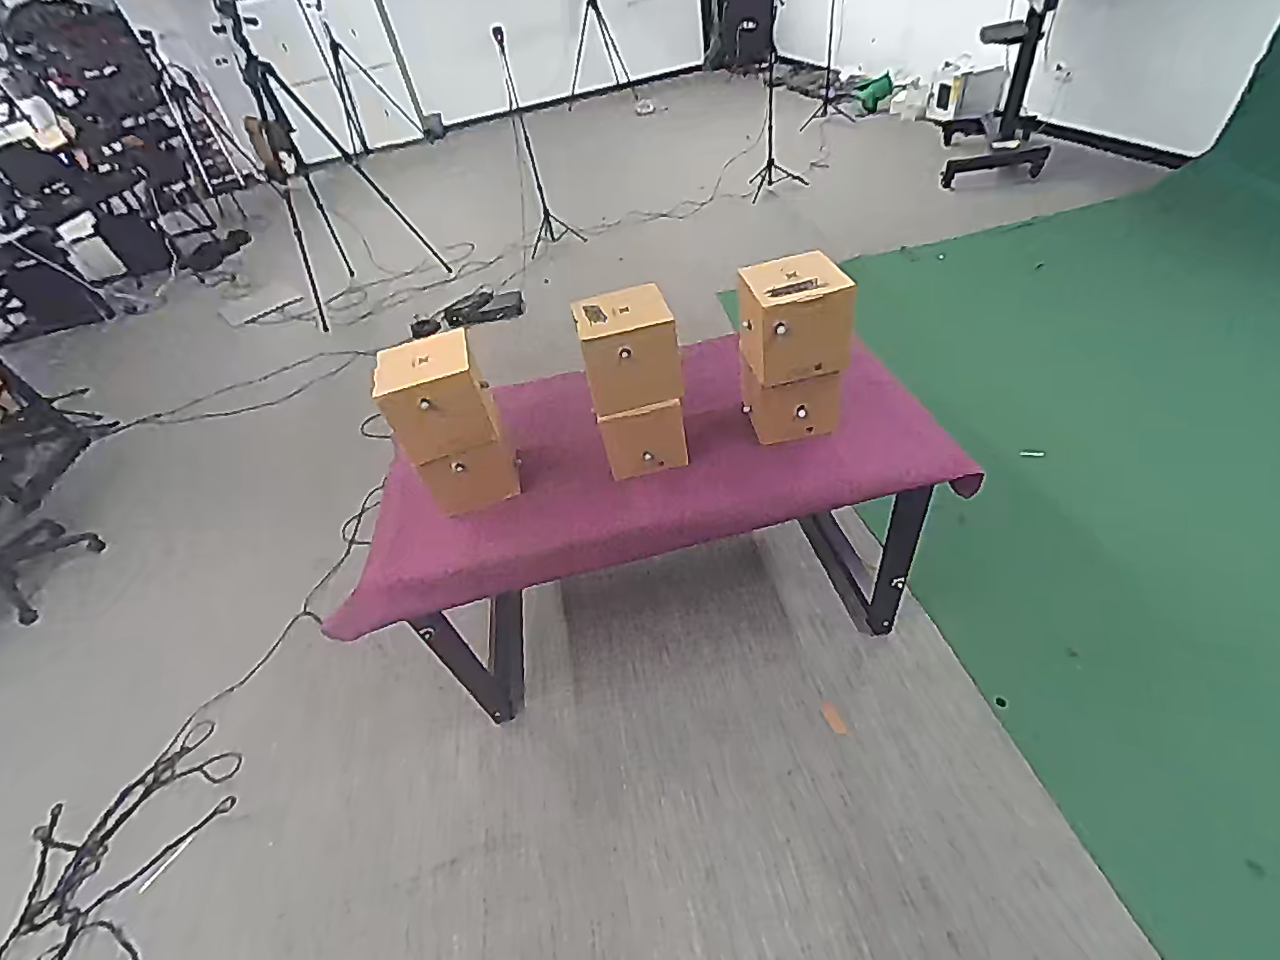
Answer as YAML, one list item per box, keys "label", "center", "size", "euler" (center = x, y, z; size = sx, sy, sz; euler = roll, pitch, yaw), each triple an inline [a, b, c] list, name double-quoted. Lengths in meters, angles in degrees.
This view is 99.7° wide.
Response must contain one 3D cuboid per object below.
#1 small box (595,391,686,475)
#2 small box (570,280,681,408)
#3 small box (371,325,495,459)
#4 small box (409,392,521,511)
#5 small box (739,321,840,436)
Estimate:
- label: "small box"
  center: [-0.003, -0.139, 1.162]
  size: [0.168, 0.176, 0.179]
  euler: [-13, 44, 1]
- label: "small box"
  center: [-0.027, -0.261, 1.055]
  size: [0.179, 0.176, 0.168]
  euler: [-14, 43, -2]
- label: "small box"
  center: [-0.392, -0.169, 1.052]
  size: [0.179, 0.176, 0.168]
  euler: [-19, 46, -5]
- label: "small box"
  center: [-0.372, -0.058, 1.167]
  size: [0.179, 0.176, 0.168]
  euler: [-17, 45, -4]
- label: "small box"
  center: [0.315, -0.211, 1.161]
  size: [0.168, 0.176, 0.179]
  euler: [-11, 44, 2]
